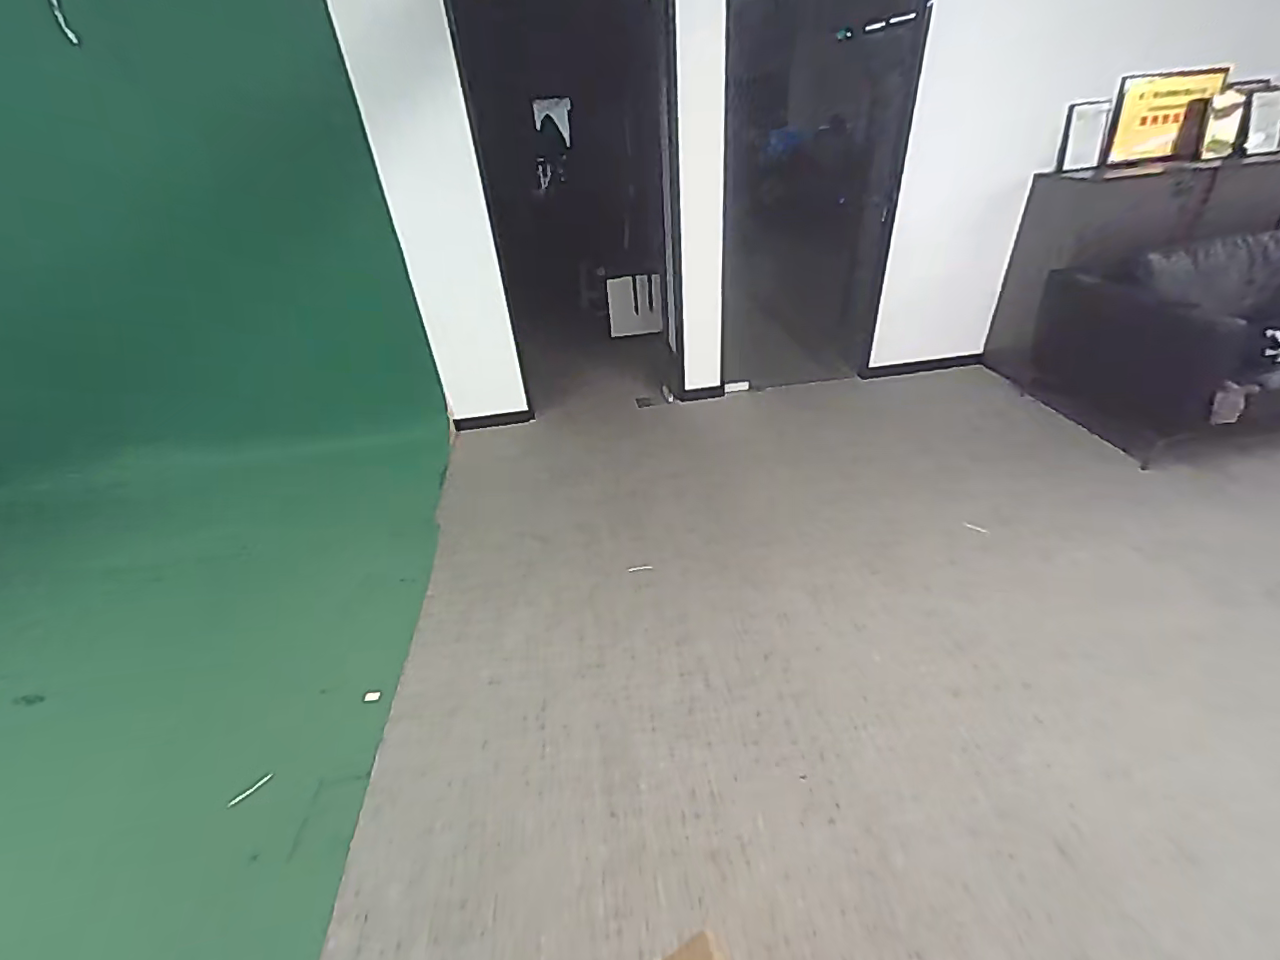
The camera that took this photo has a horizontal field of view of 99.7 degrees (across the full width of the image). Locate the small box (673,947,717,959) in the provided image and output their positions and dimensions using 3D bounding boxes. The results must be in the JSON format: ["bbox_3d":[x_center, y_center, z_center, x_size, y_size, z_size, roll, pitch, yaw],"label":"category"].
[{"bbox_3d":[0.017,0.418,0.308,0.179,0.176,0.168,-28,60,-14],"label":"small box"}]
